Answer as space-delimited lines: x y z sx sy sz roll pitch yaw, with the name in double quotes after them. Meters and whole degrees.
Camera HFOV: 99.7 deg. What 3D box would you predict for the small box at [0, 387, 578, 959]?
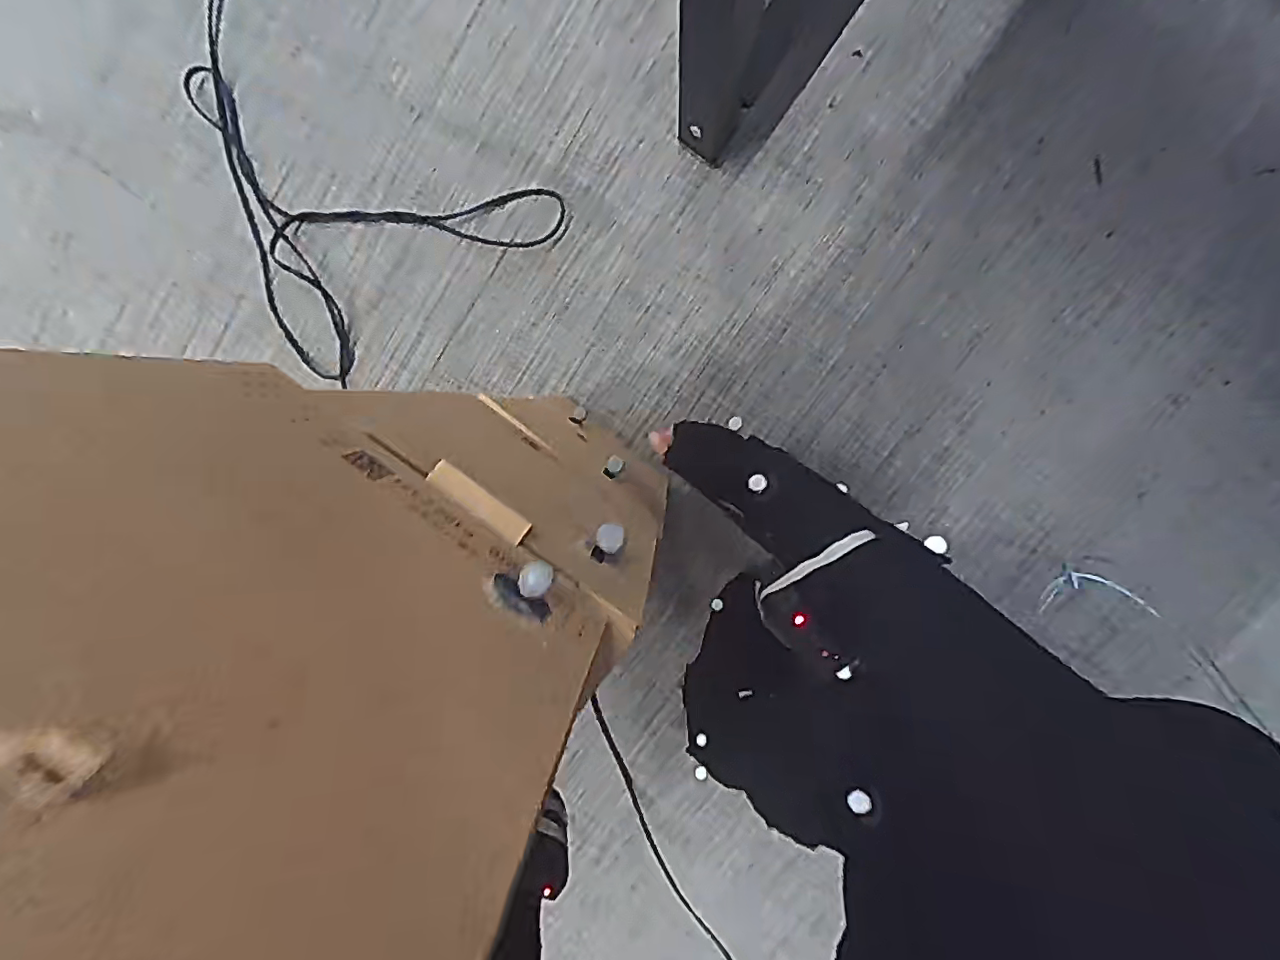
-0.134 0.087 0.148 0.168 0.176 0.179 38 102 -2 "small box"
